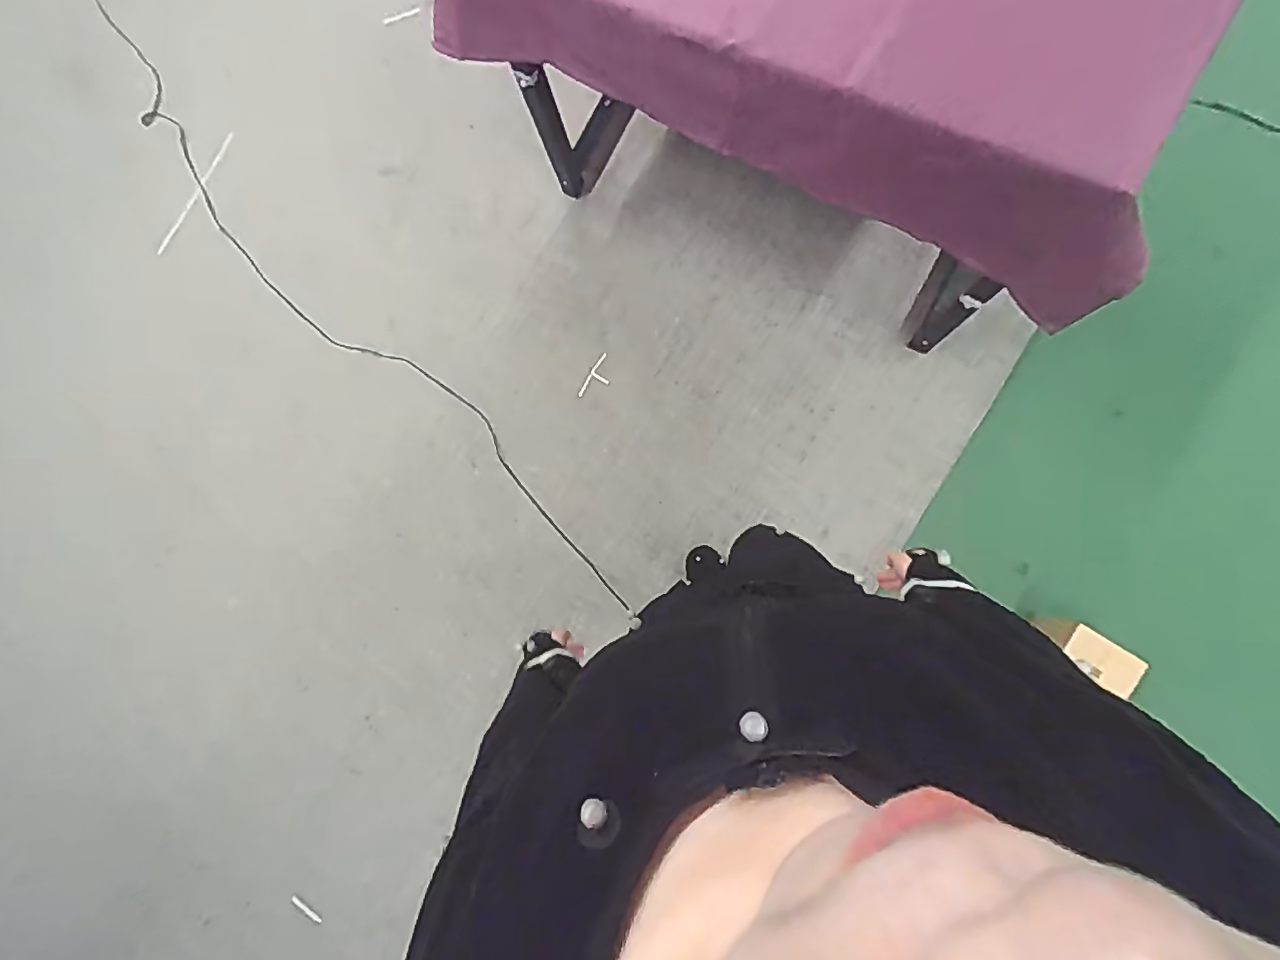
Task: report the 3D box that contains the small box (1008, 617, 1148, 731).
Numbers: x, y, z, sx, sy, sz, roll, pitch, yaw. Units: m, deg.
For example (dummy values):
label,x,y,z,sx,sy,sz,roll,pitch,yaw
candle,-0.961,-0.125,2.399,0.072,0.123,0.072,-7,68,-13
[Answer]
label,x,y,z,sx,sy,sz,roll,pitch,yaw
small box,1.025,0.451,1.287,0.168,0.176,0.179,33,88,9
